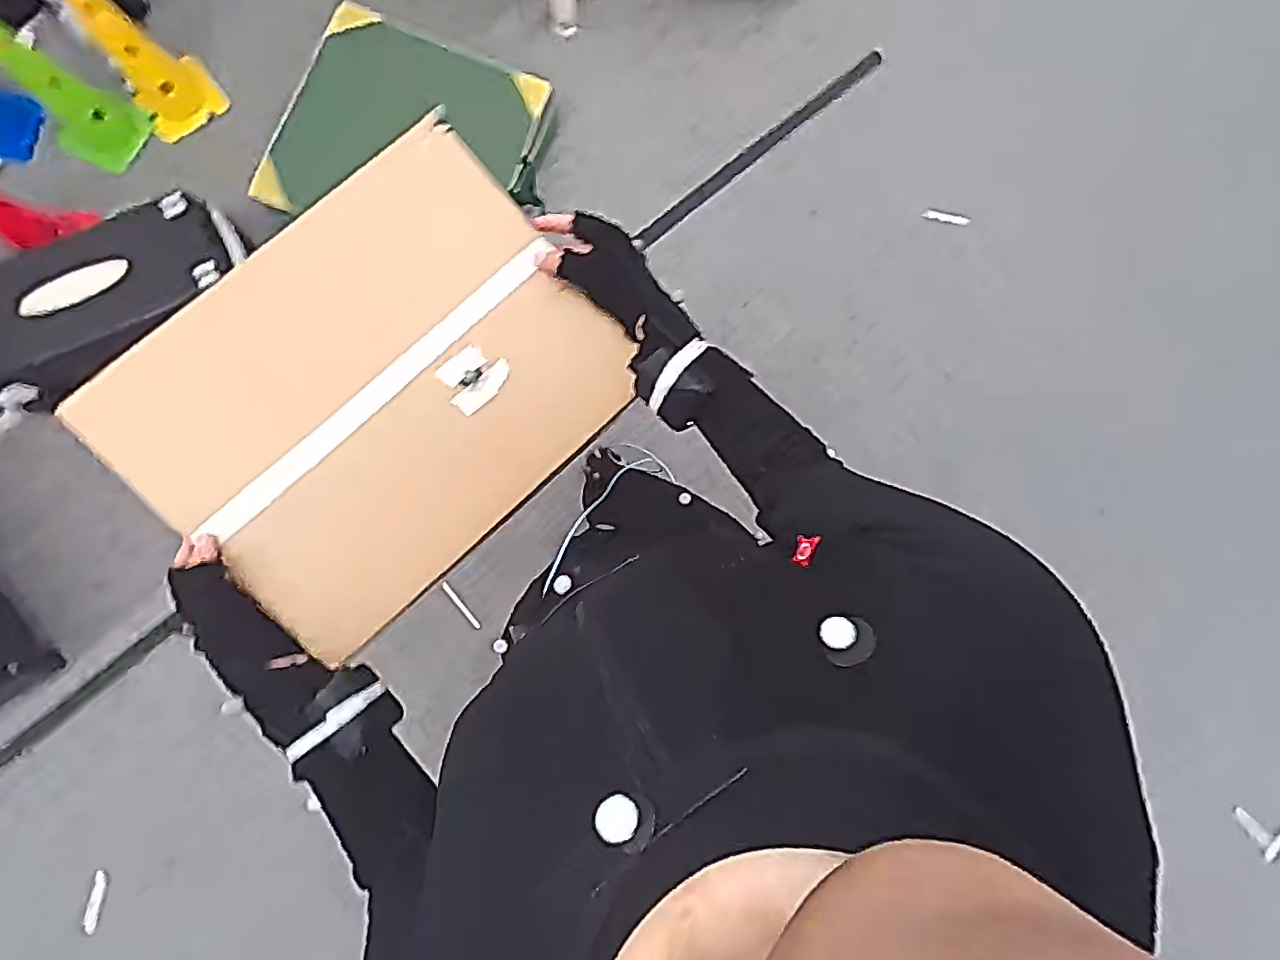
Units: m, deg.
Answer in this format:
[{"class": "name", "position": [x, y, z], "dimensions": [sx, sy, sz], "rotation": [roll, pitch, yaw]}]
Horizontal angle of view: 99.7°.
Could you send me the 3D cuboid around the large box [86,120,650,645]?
[{"class": "large box", "position": [-0.255, -0.090, 0.642], "dimensions": [0.408, 0.320, 0.320], "rotation": [-43, 97, -7]}]
